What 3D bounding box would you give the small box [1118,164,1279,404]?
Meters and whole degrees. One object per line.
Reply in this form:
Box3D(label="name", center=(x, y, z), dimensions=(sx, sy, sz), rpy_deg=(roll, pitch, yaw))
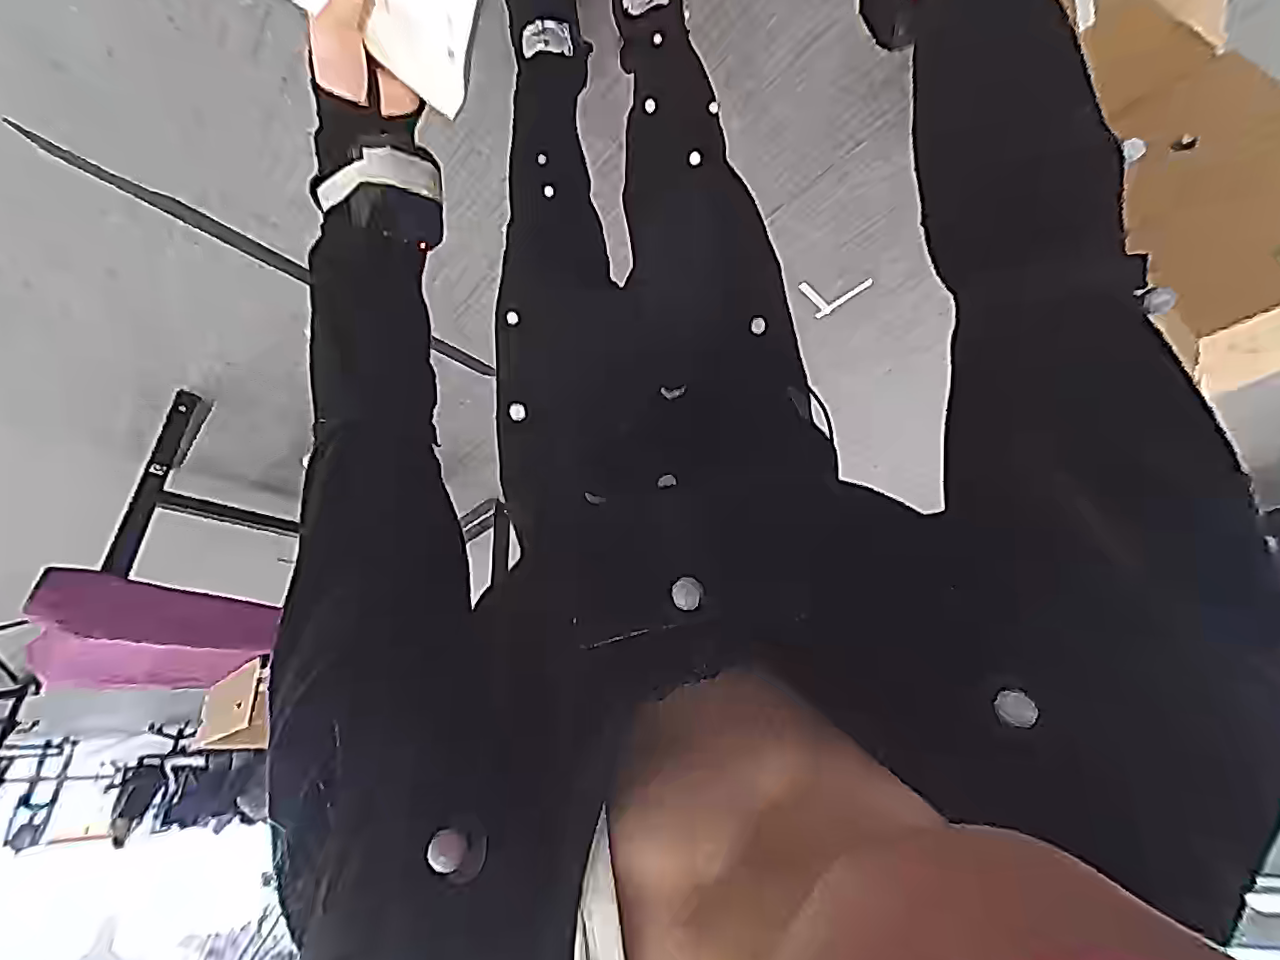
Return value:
Box3D(label="small box", center=(0.699, -0.223, 0.616), dimensions=(0.179, 0.176, 0.168), rpy_deg=(-29, 143, 35))
